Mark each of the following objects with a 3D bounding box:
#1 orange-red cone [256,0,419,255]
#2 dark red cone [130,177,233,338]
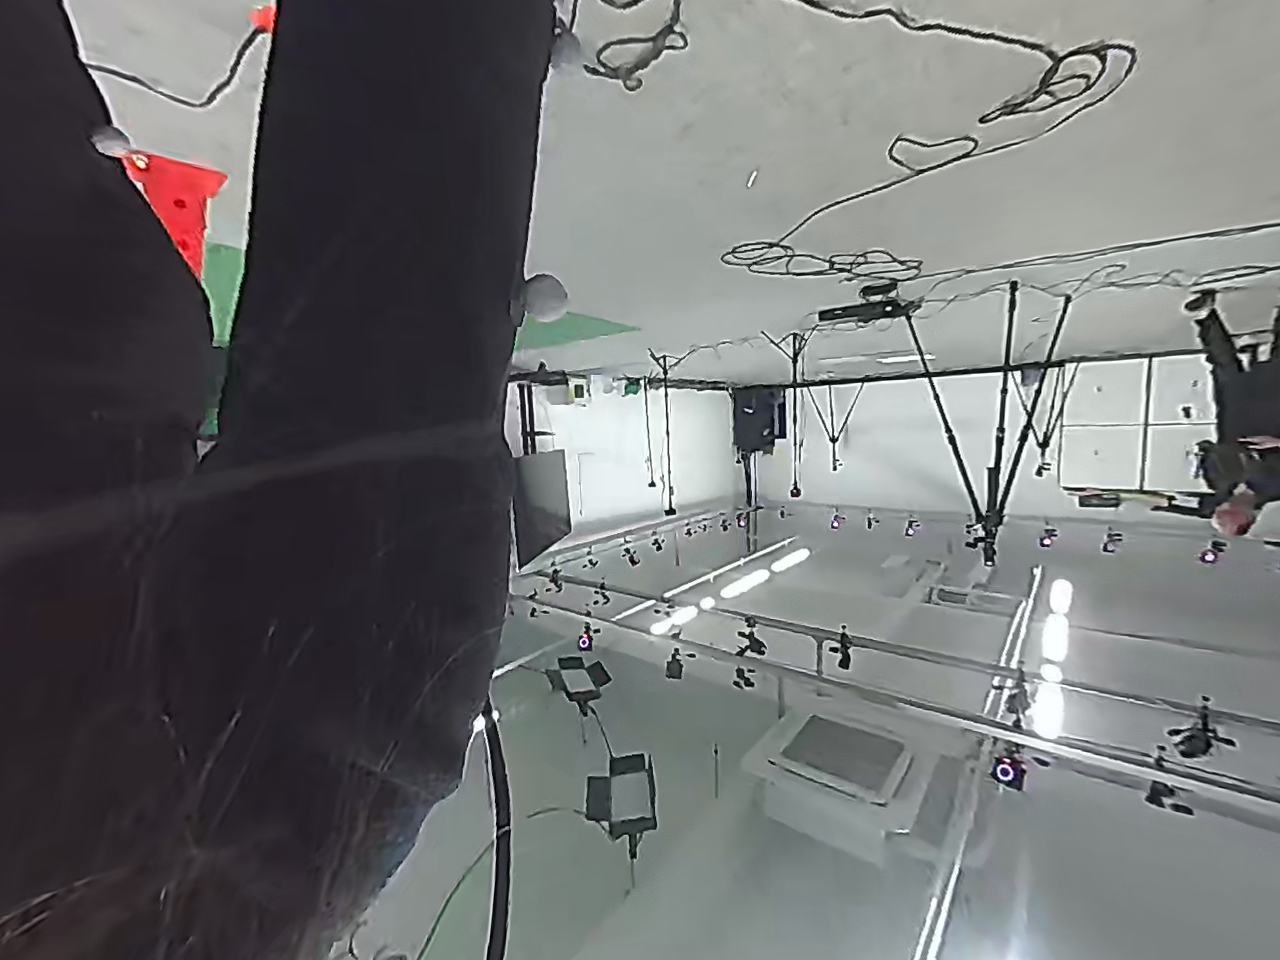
[{"bbox_3d":[-0.514,-0.593,0.965,0.198,0.360,0.199,0,-173,19],"label":"orange-red cone"},{"bbox_3d":[-1.201,-0.583,1.441,0.202,0.394,0.201,-8,-170,-43],"label":"dark red cone"}]
